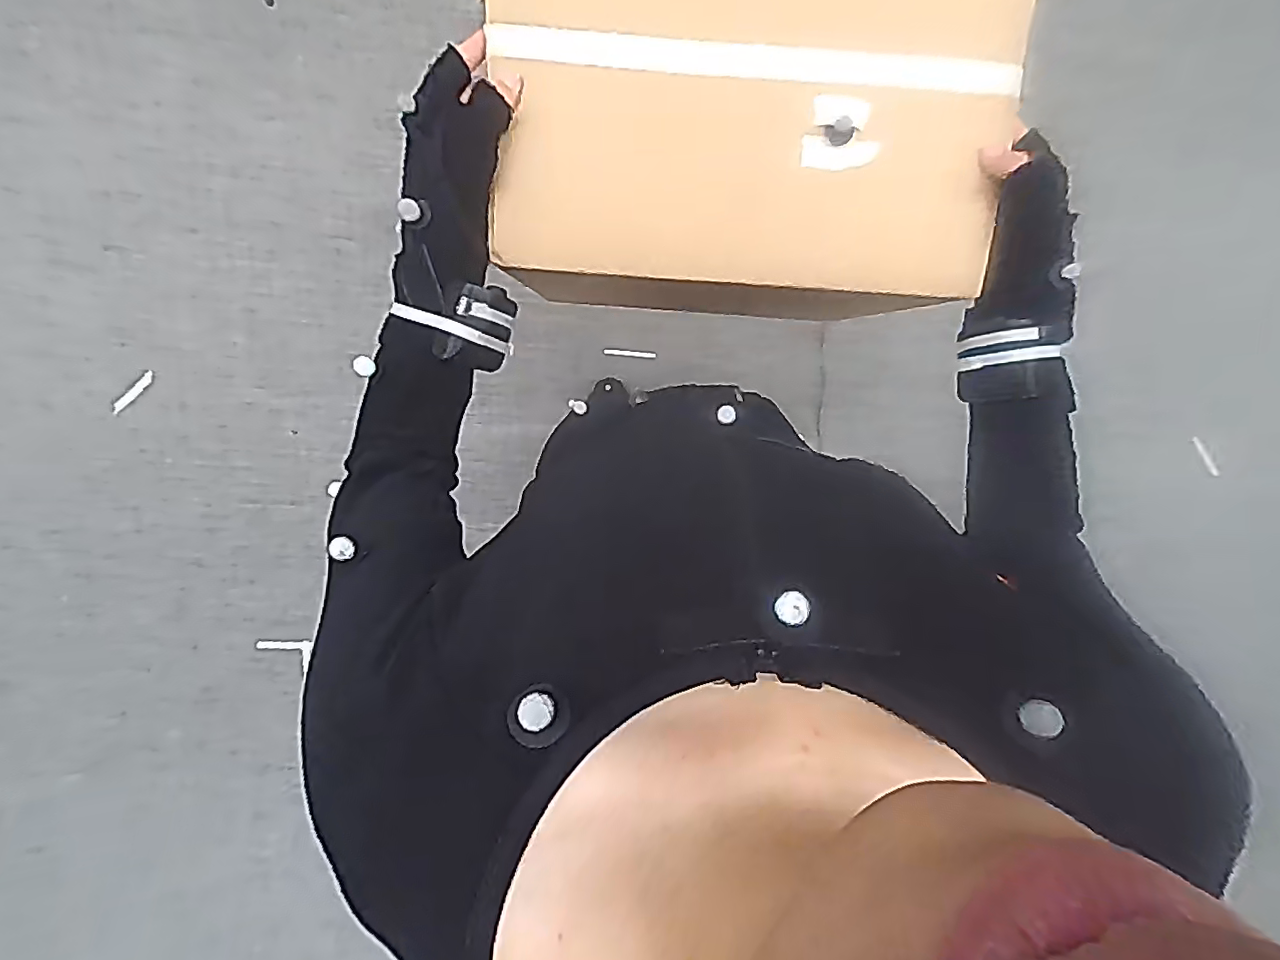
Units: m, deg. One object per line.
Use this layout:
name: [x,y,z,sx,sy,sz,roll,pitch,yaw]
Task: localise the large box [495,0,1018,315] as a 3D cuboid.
large box: [0.081,-0.353,0.564,0.408,0.320,0.320,3,103,-3]
